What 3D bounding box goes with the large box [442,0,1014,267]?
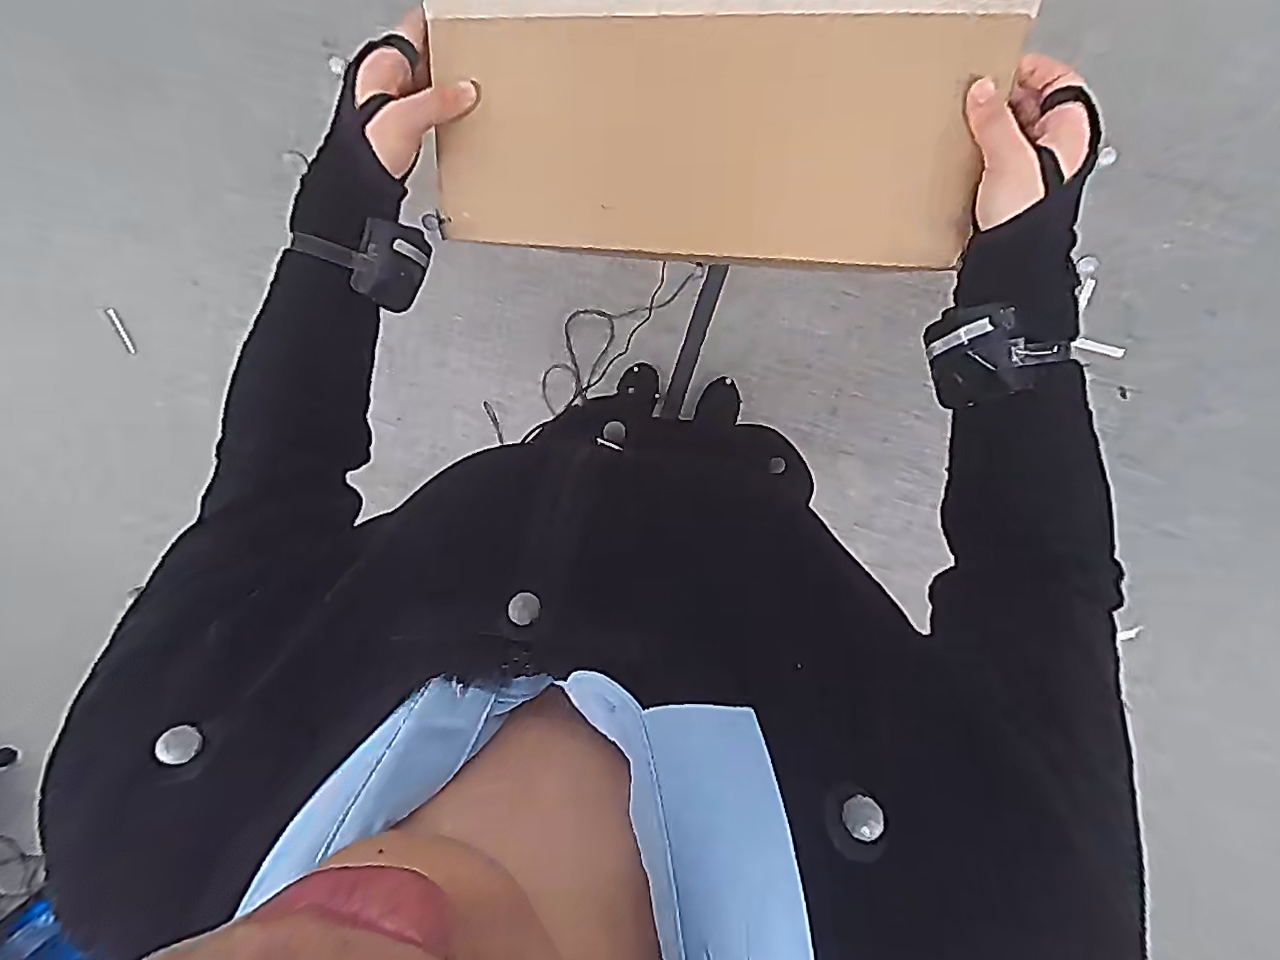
[{"bbox_3d":[0.075,-0.374,0.514,0.408,0.320,0.320,7,110,9],"label":"large box"}]
